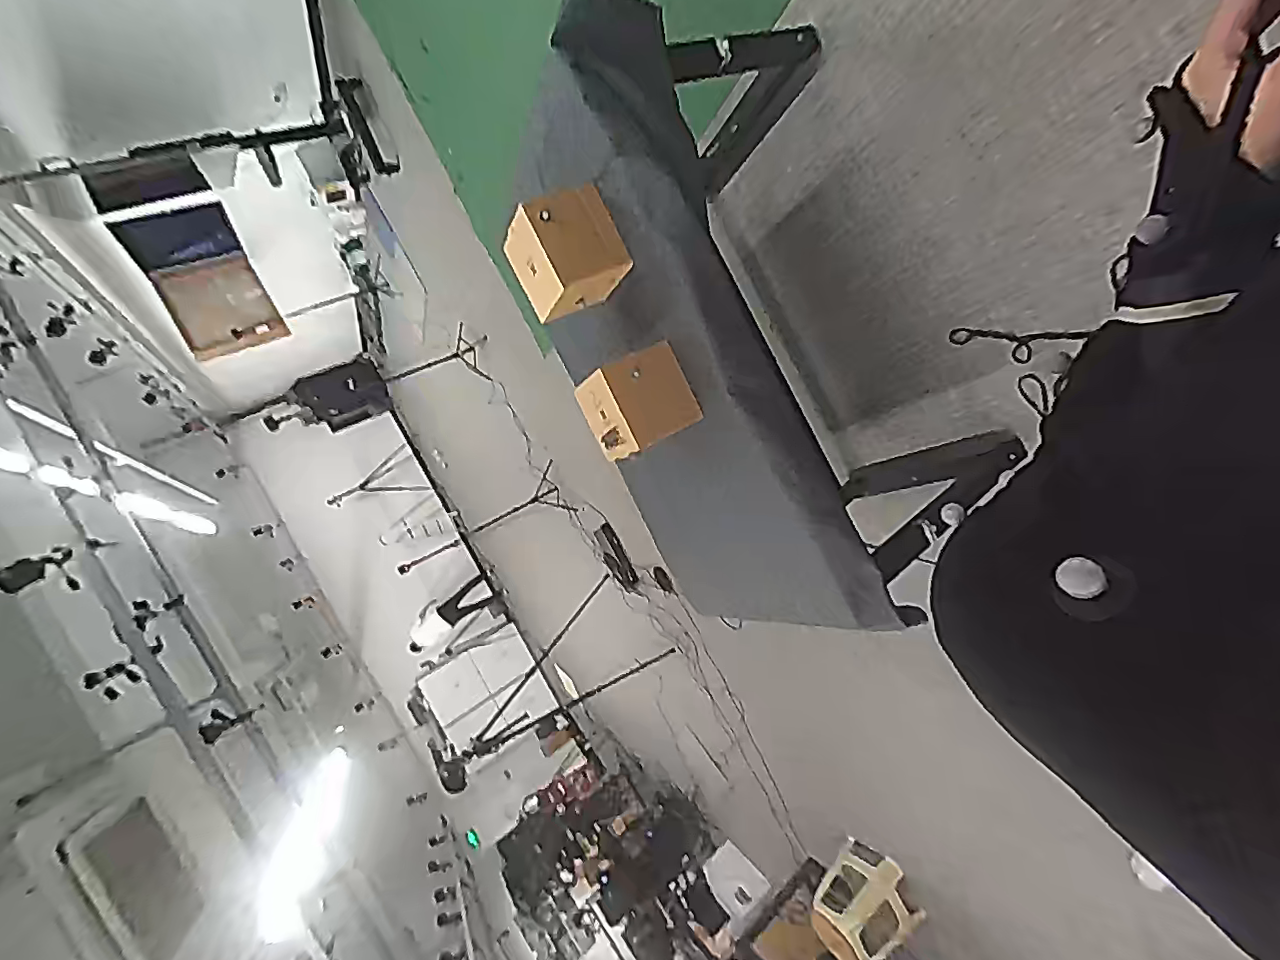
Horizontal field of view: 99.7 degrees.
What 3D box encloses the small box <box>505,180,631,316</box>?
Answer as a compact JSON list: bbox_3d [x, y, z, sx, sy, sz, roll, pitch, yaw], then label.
[{"bbox_3d":[-0.144,-0.464,1.088,0.179,0.176,0.168,63,155,-5],"label":"small box"}]
